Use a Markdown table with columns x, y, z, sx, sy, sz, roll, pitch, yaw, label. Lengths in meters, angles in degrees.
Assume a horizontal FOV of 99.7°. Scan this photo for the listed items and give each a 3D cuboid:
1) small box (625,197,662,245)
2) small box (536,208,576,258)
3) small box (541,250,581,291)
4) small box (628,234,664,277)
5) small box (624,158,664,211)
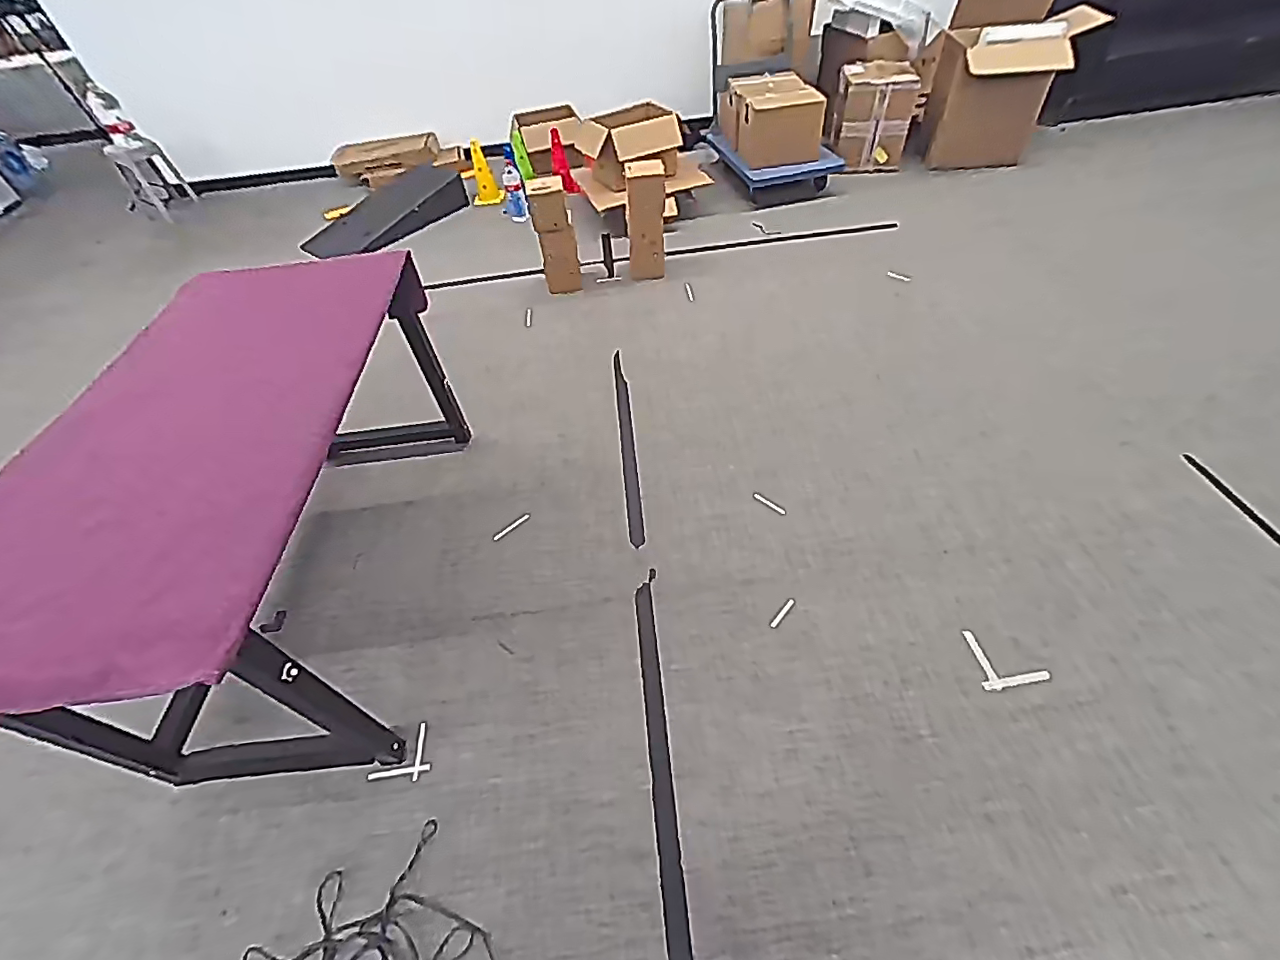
| x | y | z | sx | sy | sz | roll | pitch | yaw | label |
| --- | --- | --- | --- | --- | --- | --- | --- | --- | --- |
| 0.019 | -1.278 | 2.658 | 0.168 | 0.176 | 0.179 | -7 | 50 | -1 | small box |
| -0.405 | -1.192 | 2.625 | 0.168 | 0.176 | 0.179 | -7 | 48 | 0 | small box |
| -0.398 | -1.085 | 2.749 | 0.179 | 0.176 | 0.168 | -10 | 48 | -2 | small box |
| 0.031 | -1.163 | 2.773 | 0.179 | 0.176 | 0.168 | -4 | 49 | 2 | small box |
| 0.020 | -1.379 | 2.528 | 0.179 | 0.176 | 0.168 | -5 | 50 | -1 | small box |
